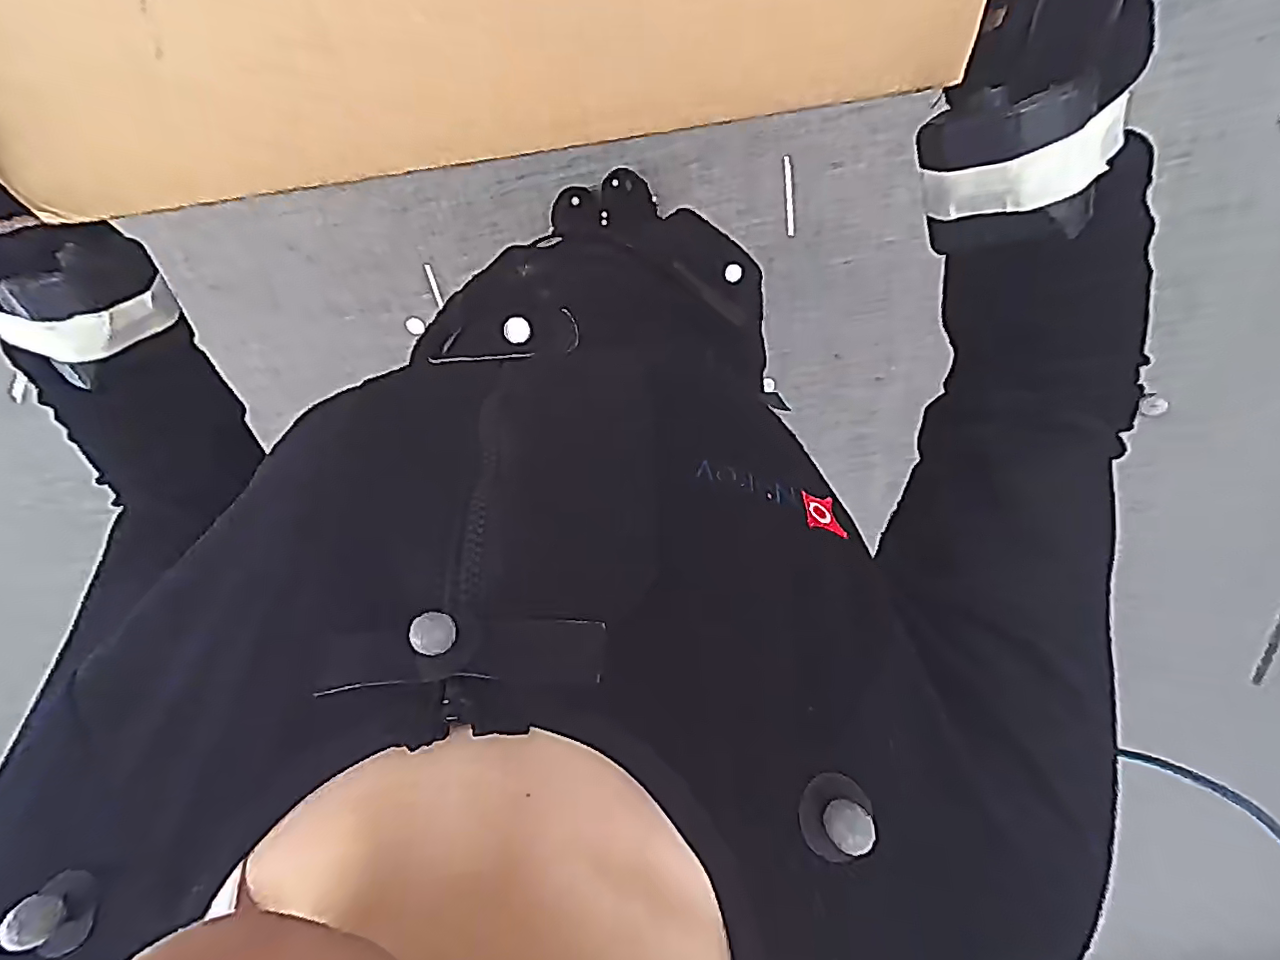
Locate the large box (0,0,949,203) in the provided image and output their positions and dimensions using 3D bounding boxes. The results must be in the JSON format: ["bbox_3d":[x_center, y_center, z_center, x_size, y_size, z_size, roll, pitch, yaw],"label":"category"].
[{"bbox_3d":[-0.097,-0.363,0.214,0.408,0.320,0.320,-6,140,4],"label":"large box"}]
